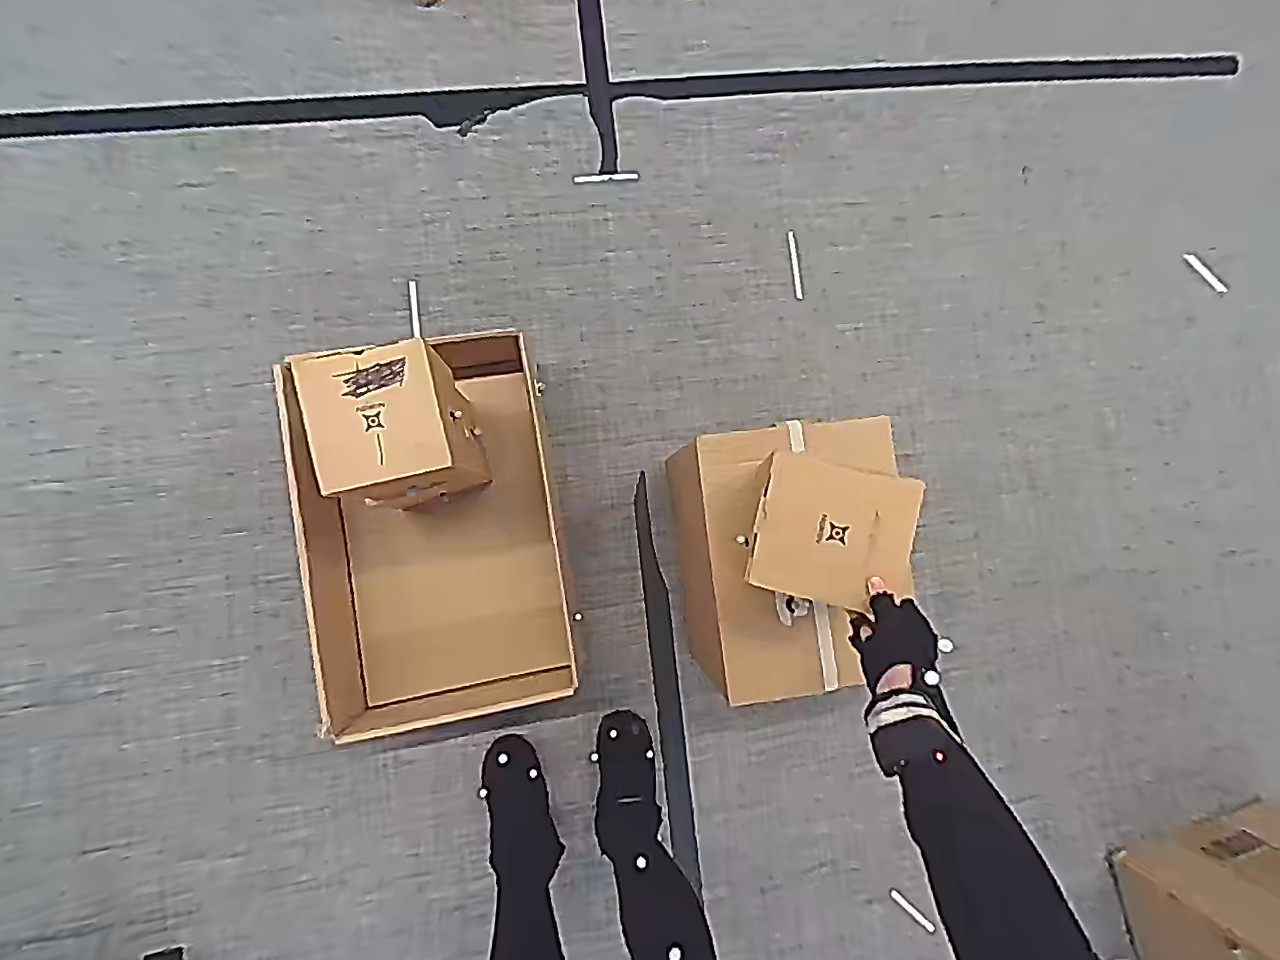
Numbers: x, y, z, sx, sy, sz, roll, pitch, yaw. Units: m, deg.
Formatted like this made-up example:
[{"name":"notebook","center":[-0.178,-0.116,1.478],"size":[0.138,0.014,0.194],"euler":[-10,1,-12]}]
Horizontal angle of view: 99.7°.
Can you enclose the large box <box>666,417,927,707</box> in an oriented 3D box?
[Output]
[{"name":"large box","center":[0.243,0.125,0.961],"size":[0.320,0.320,0.408],"euler":[-7,87,-6]}]

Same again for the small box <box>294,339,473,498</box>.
[{"name":"small box","center":[-0.348,-0.077,0.766],"size":[0.168,0.176,0.179],"euler":[-13,88,-7]}]

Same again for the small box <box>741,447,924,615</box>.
[{"name":"small box","center":[0.233,0.063,0.702],"size":[0.179,0.176,0.168],"euler":[12,88,8]}]

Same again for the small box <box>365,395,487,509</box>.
[{"name":"small box","center":[-0.373,-0.054,0.928],"size":[0.179,0.176,0.168],"euler":[-18,88,-8]}]
